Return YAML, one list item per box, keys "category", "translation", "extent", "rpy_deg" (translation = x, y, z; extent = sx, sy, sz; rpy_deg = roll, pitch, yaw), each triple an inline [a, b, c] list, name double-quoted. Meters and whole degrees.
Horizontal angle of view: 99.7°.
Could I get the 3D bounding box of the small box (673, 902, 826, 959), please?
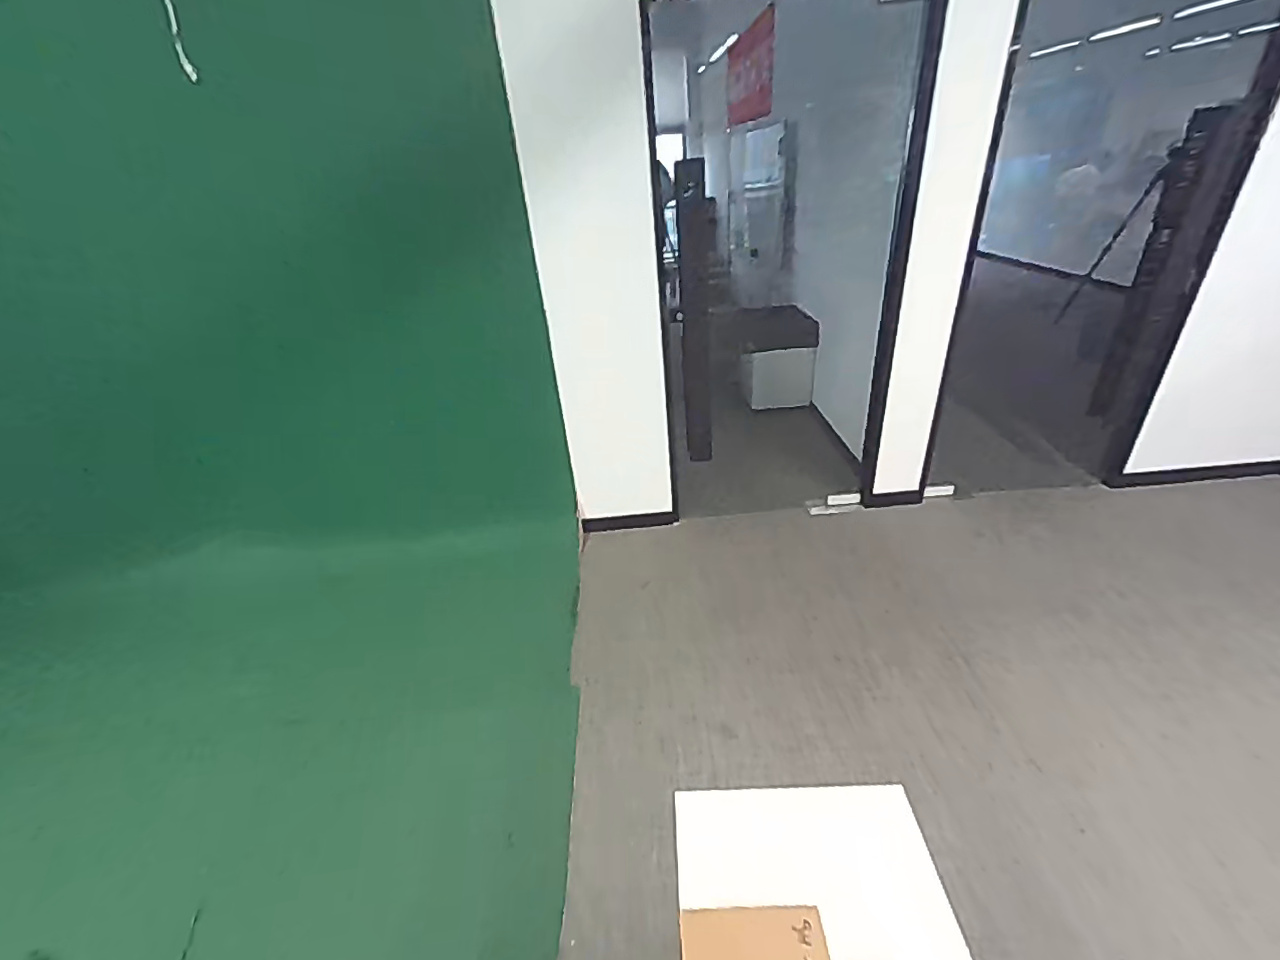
- category: "small box"
  translation: [0.132, 0.637, 0.639]
  extent: [0.179, 0.176, 0.168]
  rpy_deg: [-2, 29, 3]
